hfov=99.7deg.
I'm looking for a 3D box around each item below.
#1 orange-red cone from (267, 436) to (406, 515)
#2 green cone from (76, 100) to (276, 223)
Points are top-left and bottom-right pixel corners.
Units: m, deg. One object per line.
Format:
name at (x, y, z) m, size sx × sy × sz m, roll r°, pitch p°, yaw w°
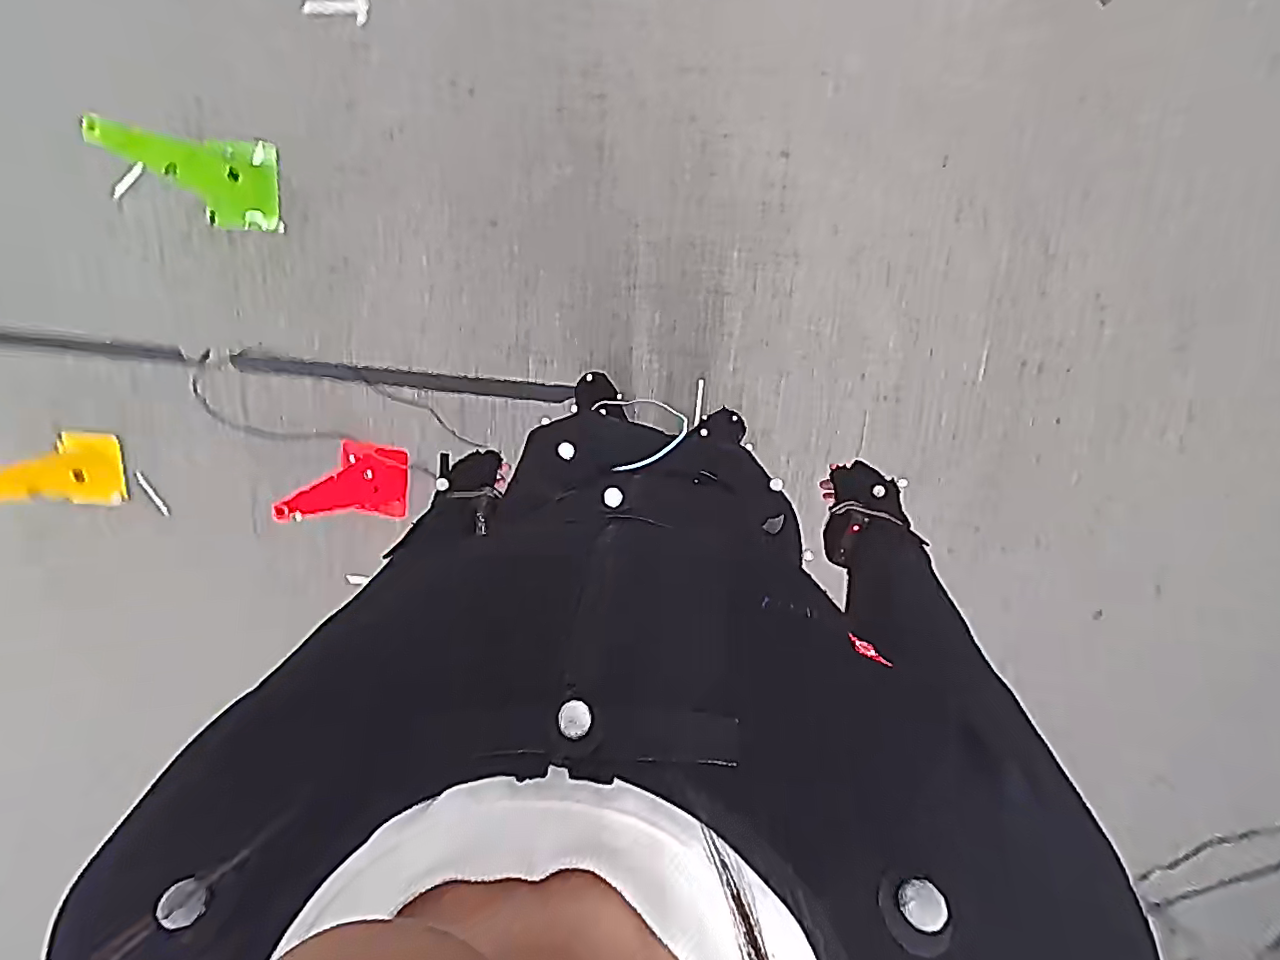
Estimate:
orange-red cone at (-0.772, 0.025, 1.345) m, size 0.198 × 0.360 × 0.199 m, roll 11°, pitch 104°, yaw 5°
green cone at (-1.037, -0.733, 1.206) m, size 0.200 × 0.368 × 0.202 m, roll 7°, pitch 101°, yaw 4°
